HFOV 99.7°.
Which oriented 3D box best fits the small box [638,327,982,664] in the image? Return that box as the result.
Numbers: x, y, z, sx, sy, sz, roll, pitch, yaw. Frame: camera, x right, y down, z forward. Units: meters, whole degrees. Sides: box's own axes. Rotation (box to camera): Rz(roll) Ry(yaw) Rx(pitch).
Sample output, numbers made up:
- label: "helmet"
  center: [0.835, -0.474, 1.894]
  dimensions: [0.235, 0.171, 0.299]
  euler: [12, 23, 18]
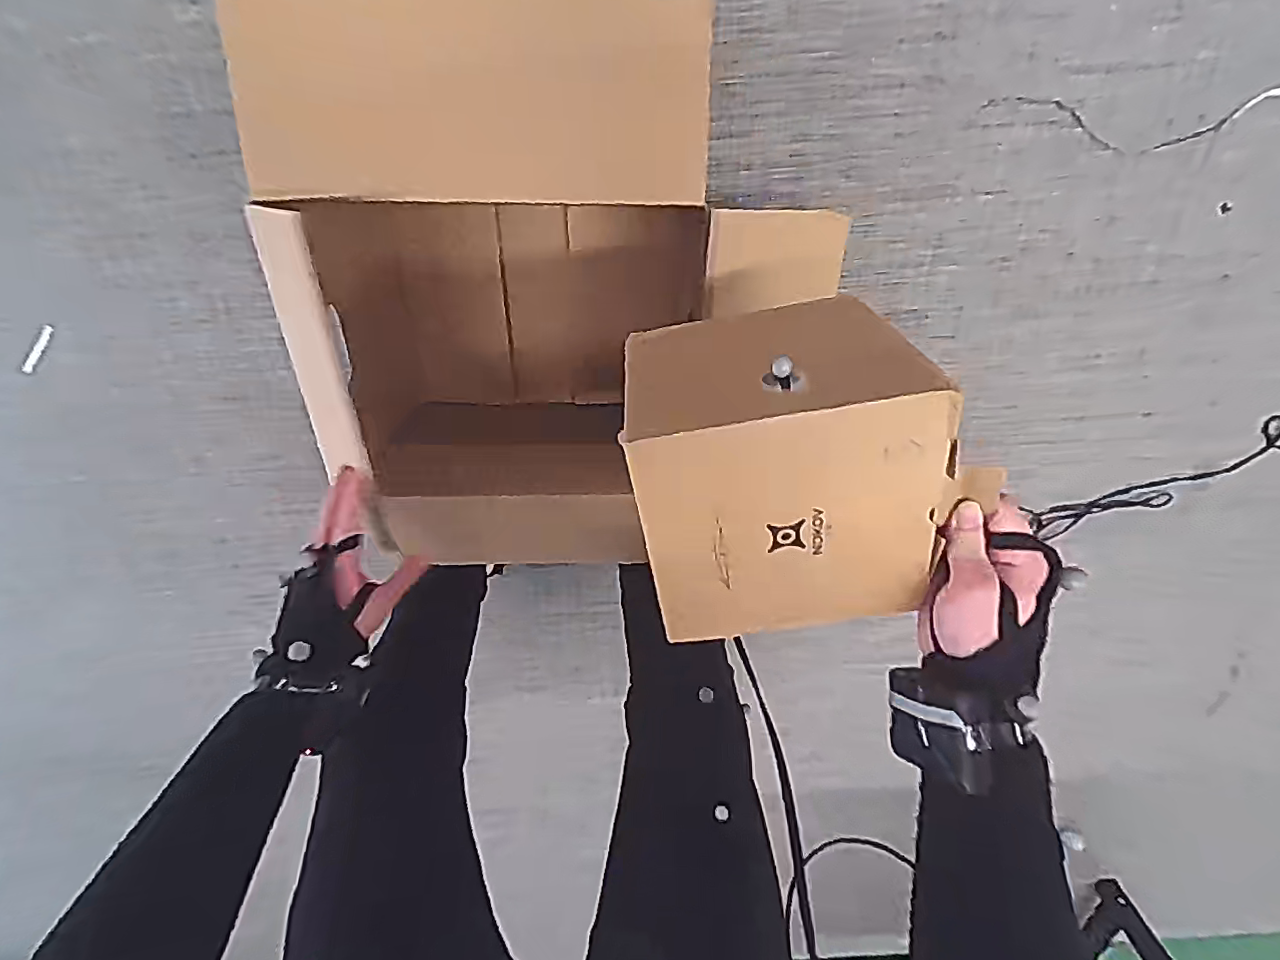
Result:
- label: "small box"
  center: [0.094, 0.003, 0.381]
  dimensions: [0.179, 0.176, 0.168]
  euler: [-7, 122, 5]
